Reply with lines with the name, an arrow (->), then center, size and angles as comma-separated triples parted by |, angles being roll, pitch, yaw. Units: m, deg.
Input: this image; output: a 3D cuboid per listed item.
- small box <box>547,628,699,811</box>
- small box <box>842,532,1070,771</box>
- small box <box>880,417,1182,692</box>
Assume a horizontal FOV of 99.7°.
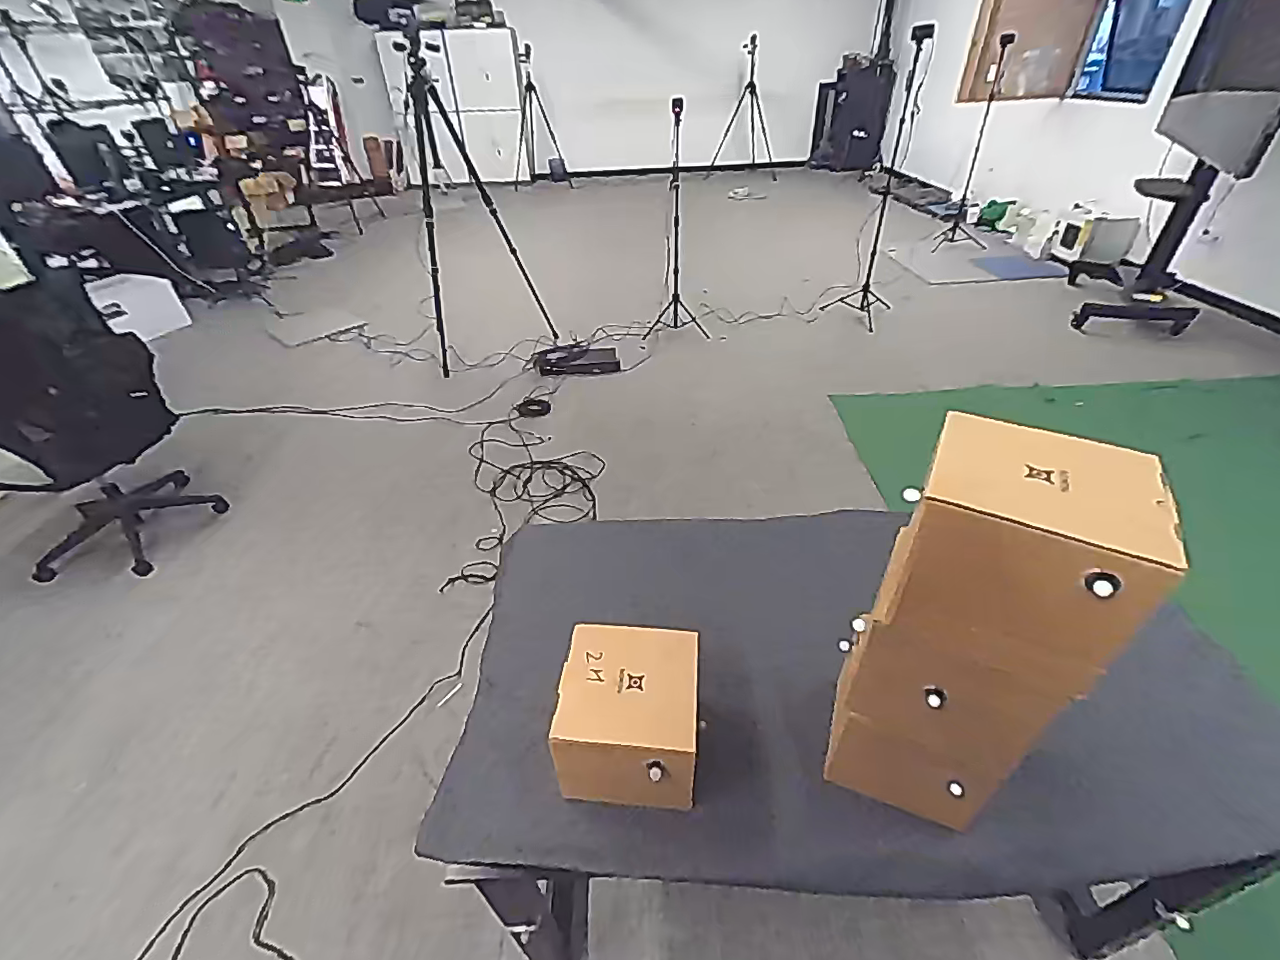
small box -> -0.013, 0.325, 0.734 | 0.179, 0.176, 0.168 | 2, 38, 6
small box -> 0.350, 0.194, 0.615 | 0.179, 0.176, 0.168 | 18, 41, 26
small box -> 0.348, 0.066, 0.515 | 0.179, 0.176, 0.168 | 19, 42, 25
